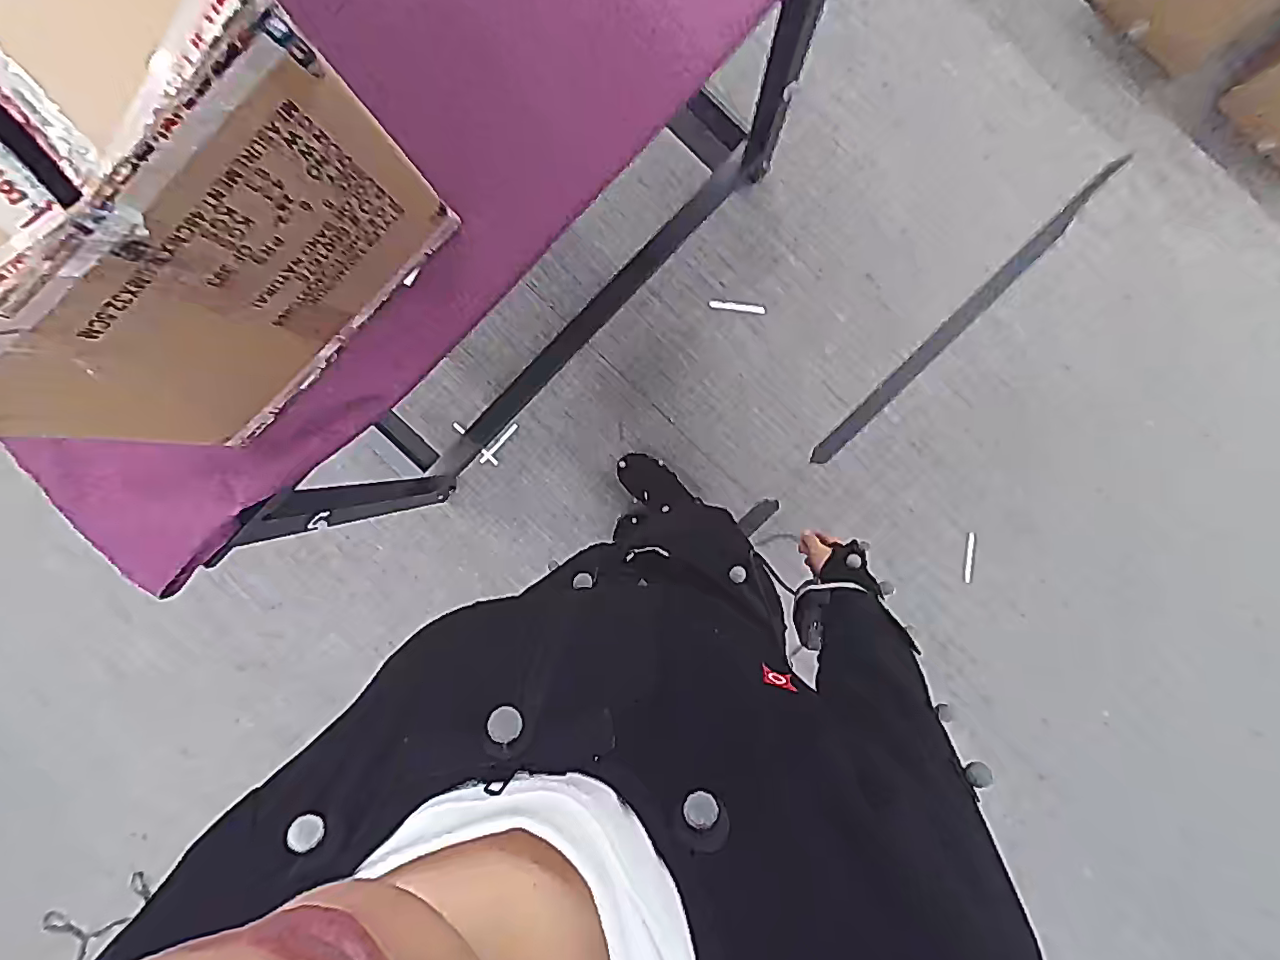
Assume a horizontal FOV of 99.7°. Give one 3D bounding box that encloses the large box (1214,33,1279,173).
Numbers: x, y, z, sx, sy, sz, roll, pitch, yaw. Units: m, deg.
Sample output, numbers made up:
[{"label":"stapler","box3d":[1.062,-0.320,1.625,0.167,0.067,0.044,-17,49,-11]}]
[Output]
[{"label":"large box","box3d":[1.598,-0.925,1.129,0.320,0.320,0.408,43,94,1]}]
